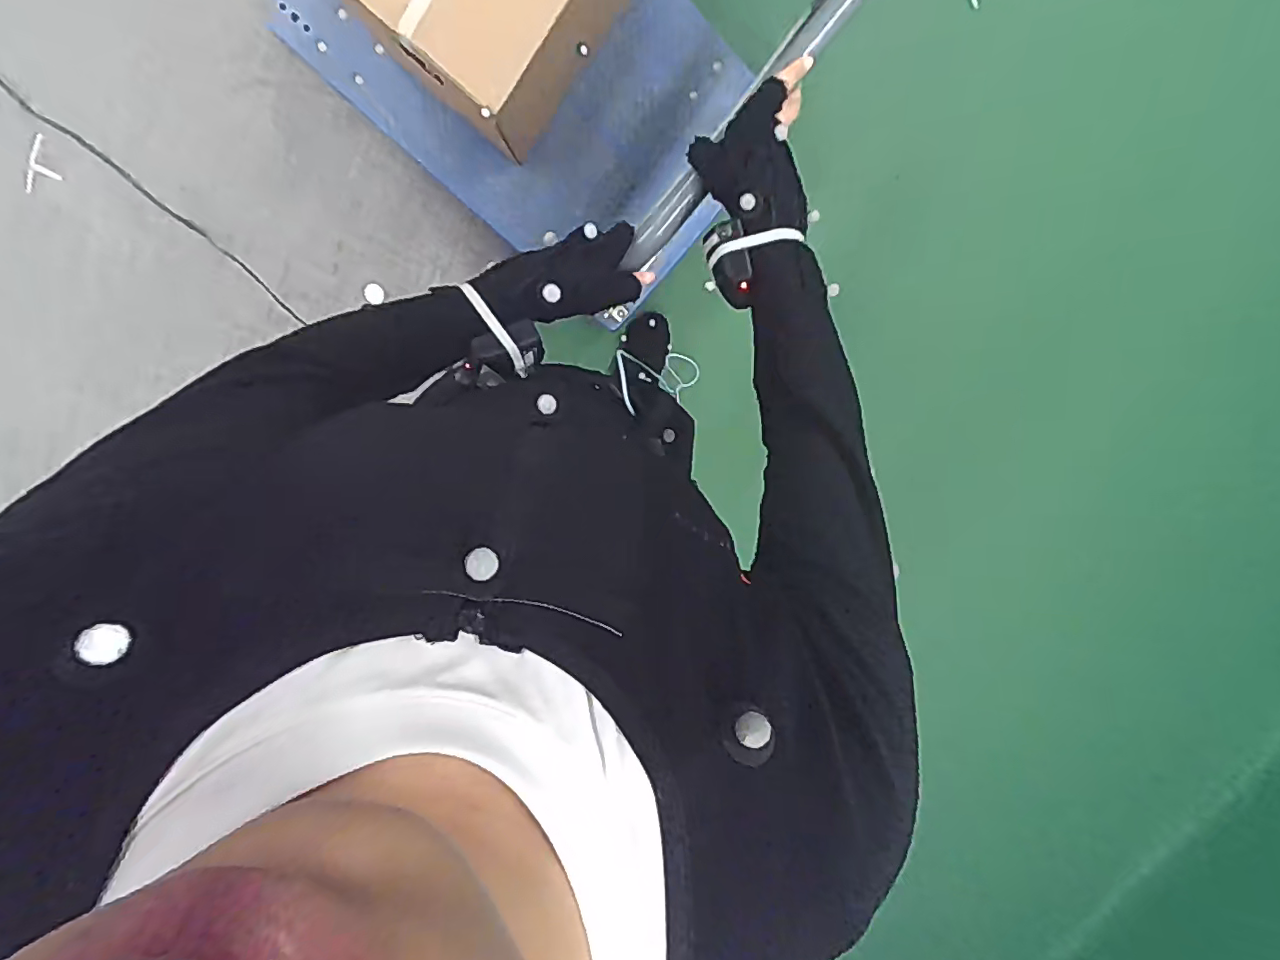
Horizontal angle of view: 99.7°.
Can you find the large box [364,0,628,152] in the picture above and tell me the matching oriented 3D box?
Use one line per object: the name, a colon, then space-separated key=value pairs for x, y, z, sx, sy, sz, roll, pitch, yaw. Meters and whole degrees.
large box: x=-0.212 y=-0.852 z=0.886 sx=0.320 sy=0.320 sz=0.408 roll=36 pitch=103 yaw=-14
